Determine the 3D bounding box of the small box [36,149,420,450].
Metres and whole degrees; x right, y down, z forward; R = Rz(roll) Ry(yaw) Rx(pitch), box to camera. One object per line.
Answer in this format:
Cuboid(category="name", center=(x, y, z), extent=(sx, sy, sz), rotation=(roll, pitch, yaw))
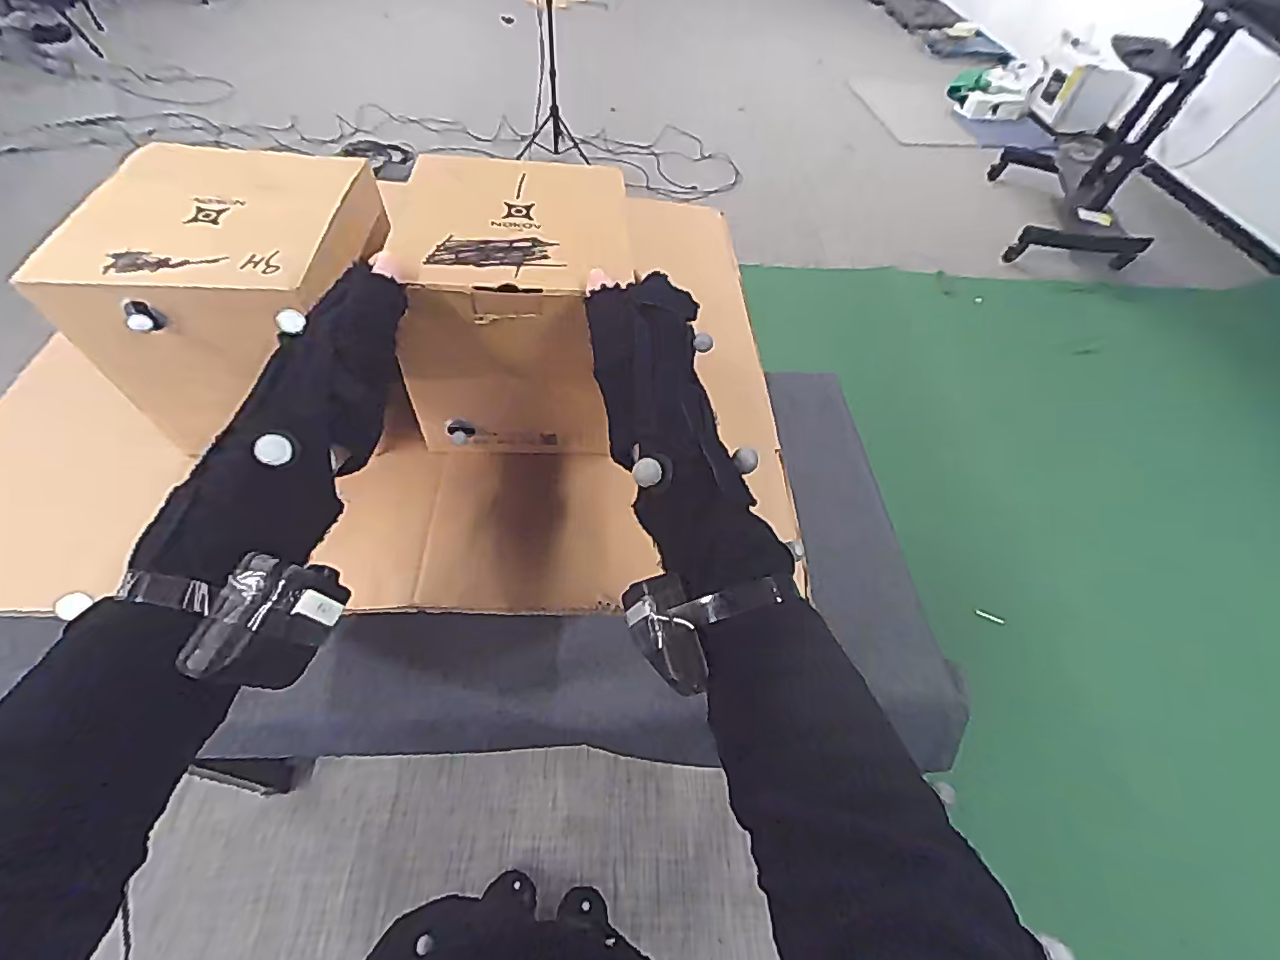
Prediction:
Cuboid(category="small box", center=(-0.299, -0.146, 0.451), extent=(0.168, 0.176, 0.179), rotation=(0, 53, -3))
